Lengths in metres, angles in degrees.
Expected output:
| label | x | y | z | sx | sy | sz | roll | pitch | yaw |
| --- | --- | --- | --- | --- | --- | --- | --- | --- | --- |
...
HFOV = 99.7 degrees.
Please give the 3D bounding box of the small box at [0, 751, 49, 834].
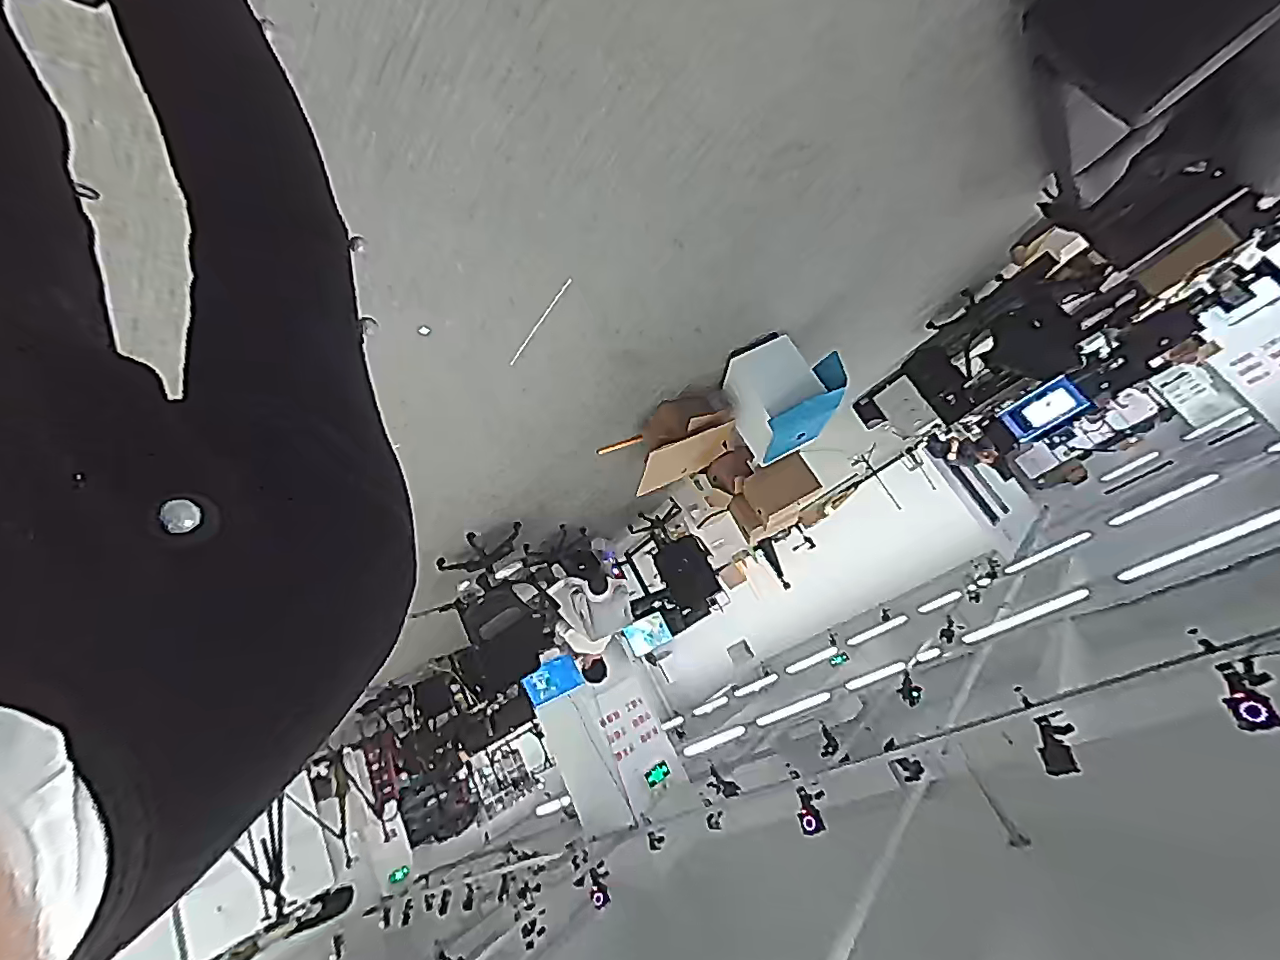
| label | x | y | z | sx | sy | sz | roll | pitch | yaw |
| --- | --- | --- | --- | --- | --- | --- | --- | --- | --- |
| small box | -1.793 | 0.886 | 1.510 | 0.168 | 0.176 | 0.179 | -10 | 155 | -45 |
